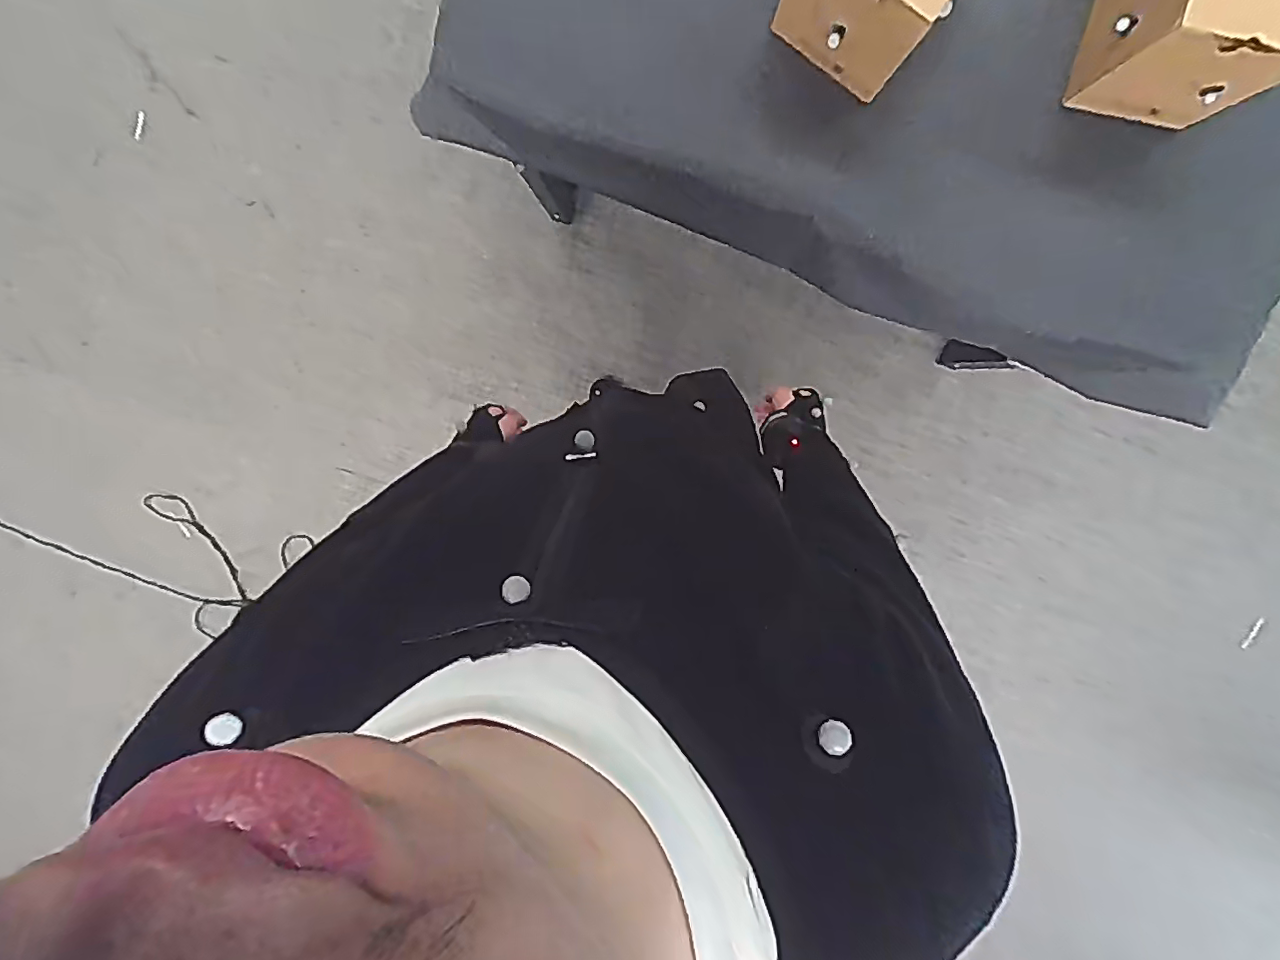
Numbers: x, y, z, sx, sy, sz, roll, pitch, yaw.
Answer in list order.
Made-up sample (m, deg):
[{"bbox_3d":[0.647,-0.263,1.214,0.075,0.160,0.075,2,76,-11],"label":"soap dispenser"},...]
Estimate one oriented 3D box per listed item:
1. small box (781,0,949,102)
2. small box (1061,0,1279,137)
[{"bbox_3d":[0.285,-0.598,0.631,0.168,0.176,0.179,33,100,-6],"label":"small box"},{"bbox_3d":[0.652,-0.543,0.637,0.168,0.176,0.179,11,100,-3],"label":"small box"}]
